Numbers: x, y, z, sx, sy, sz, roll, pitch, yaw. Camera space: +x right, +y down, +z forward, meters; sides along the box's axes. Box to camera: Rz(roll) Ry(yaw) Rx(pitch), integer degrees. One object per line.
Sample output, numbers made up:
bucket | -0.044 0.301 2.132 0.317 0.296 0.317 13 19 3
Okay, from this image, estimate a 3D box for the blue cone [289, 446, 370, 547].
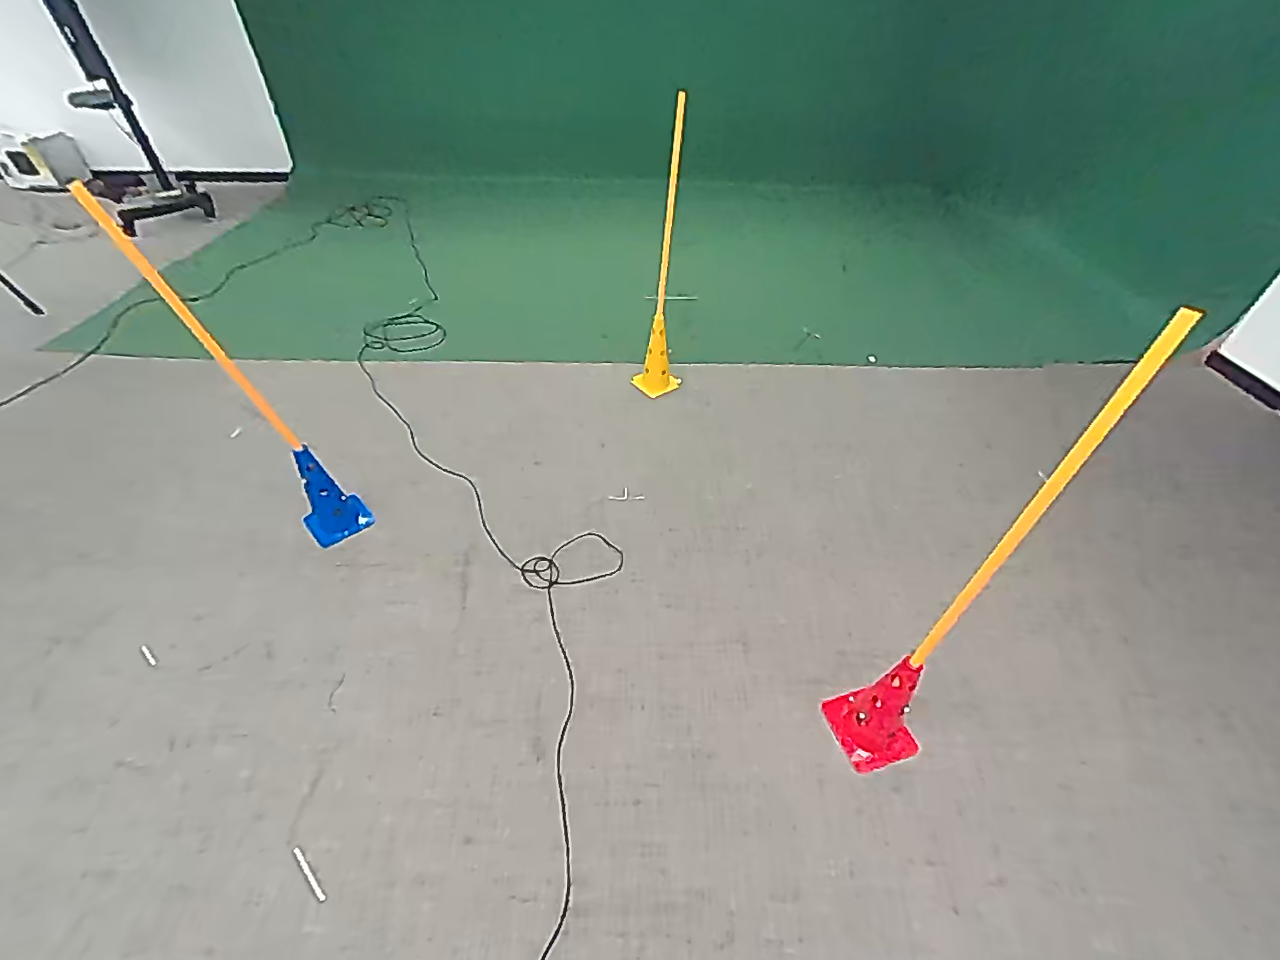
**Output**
blue cone | -1.108 0.038 1.867 0.192 0.380 0.193 35 55 30
